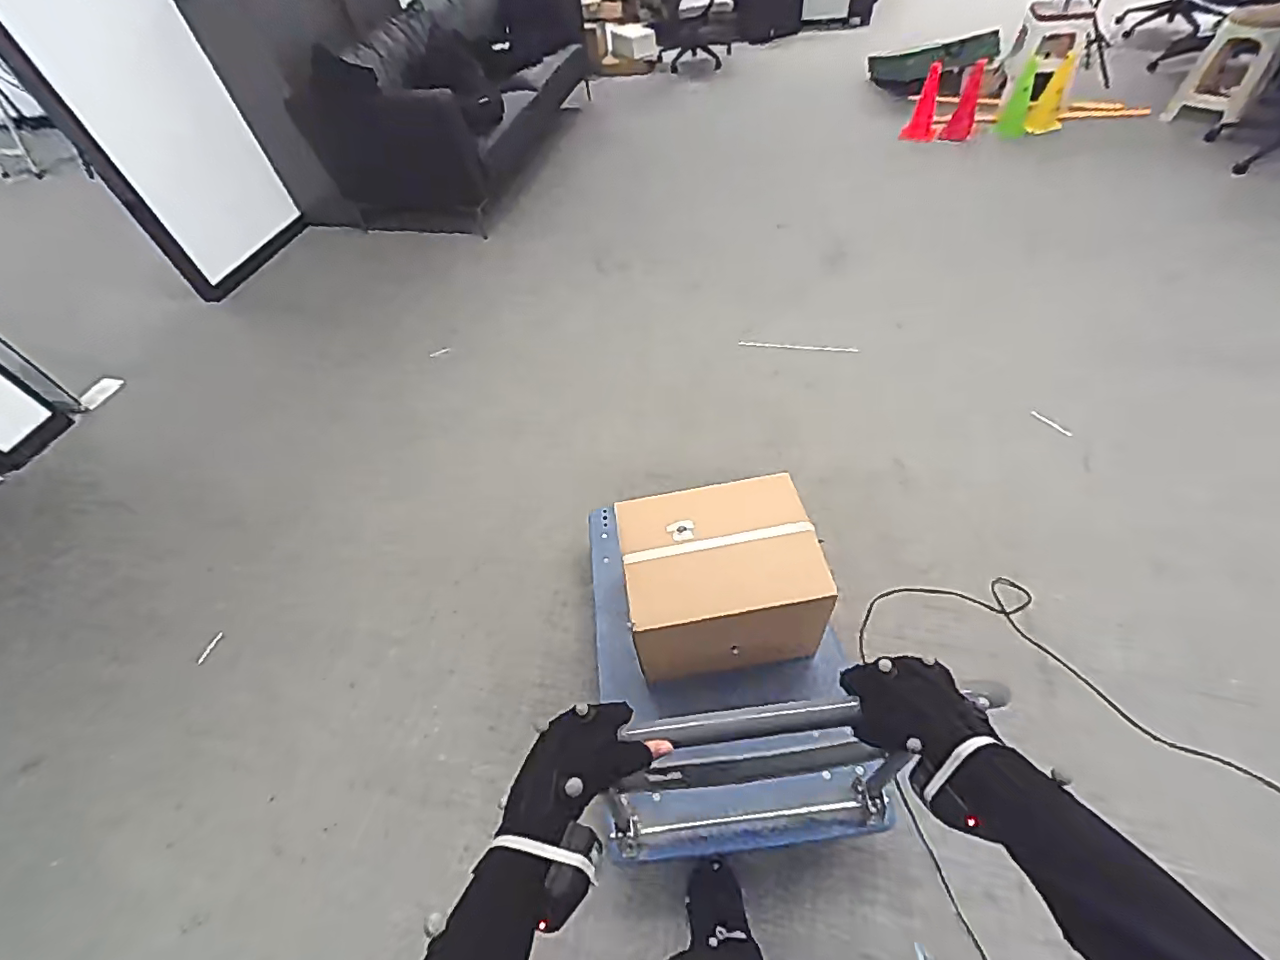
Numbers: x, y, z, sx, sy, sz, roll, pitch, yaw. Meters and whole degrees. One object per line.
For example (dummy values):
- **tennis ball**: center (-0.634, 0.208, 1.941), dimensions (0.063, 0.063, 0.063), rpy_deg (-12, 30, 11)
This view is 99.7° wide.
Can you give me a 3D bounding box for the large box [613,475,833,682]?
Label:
- **large box**: center (0.175, 0.234, 1.248), dimensions (0.408, 0.320, 0.320), rpy_deg (-11, 51, -1)
